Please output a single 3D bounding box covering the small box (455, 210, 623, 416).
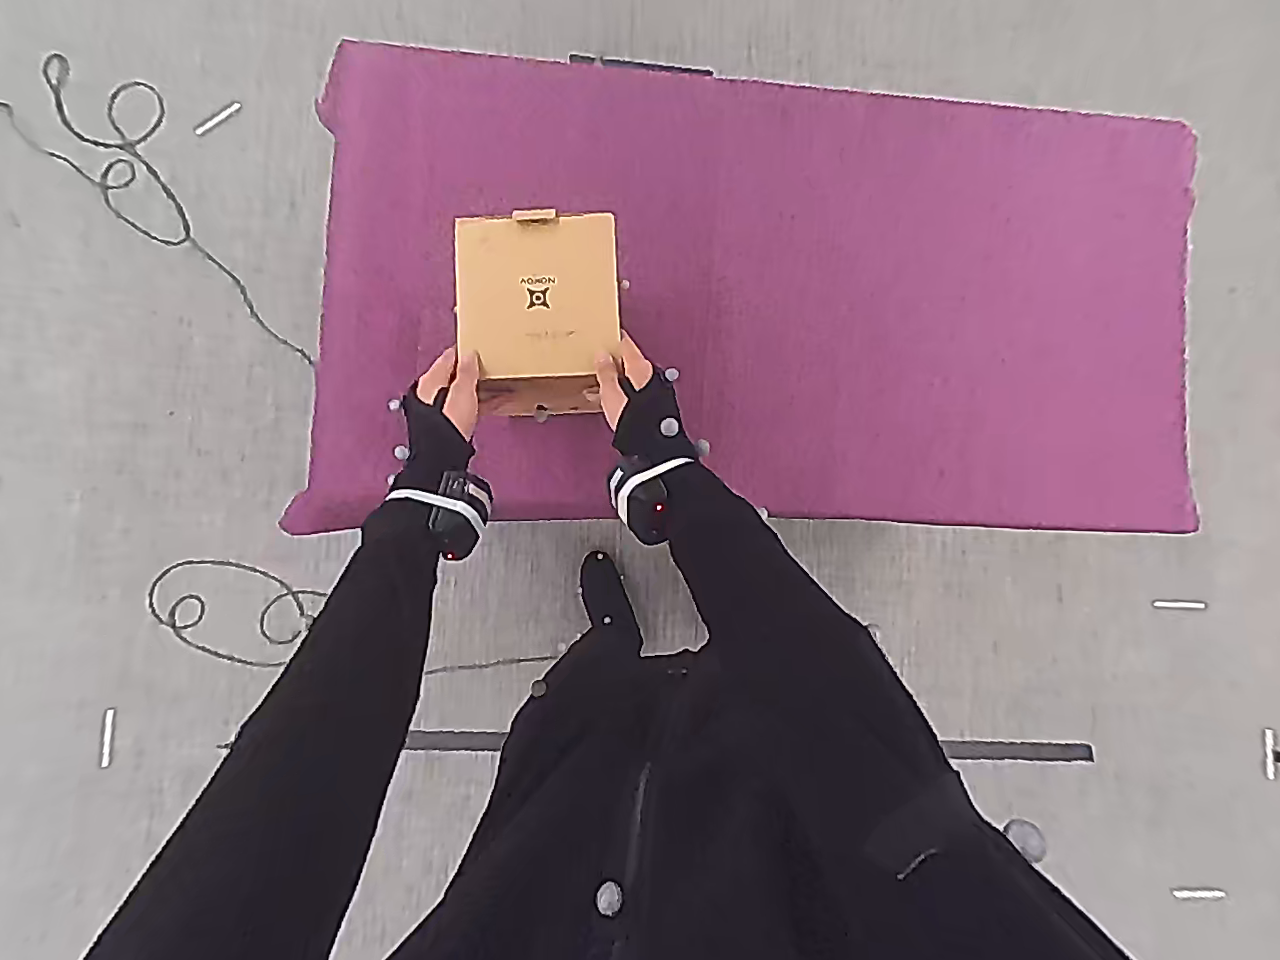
[{"bbox_3d":[-0.106,-0.179,0.620,0.168,0.176,0.179,-2,84,-2],"label":"small box"}]
